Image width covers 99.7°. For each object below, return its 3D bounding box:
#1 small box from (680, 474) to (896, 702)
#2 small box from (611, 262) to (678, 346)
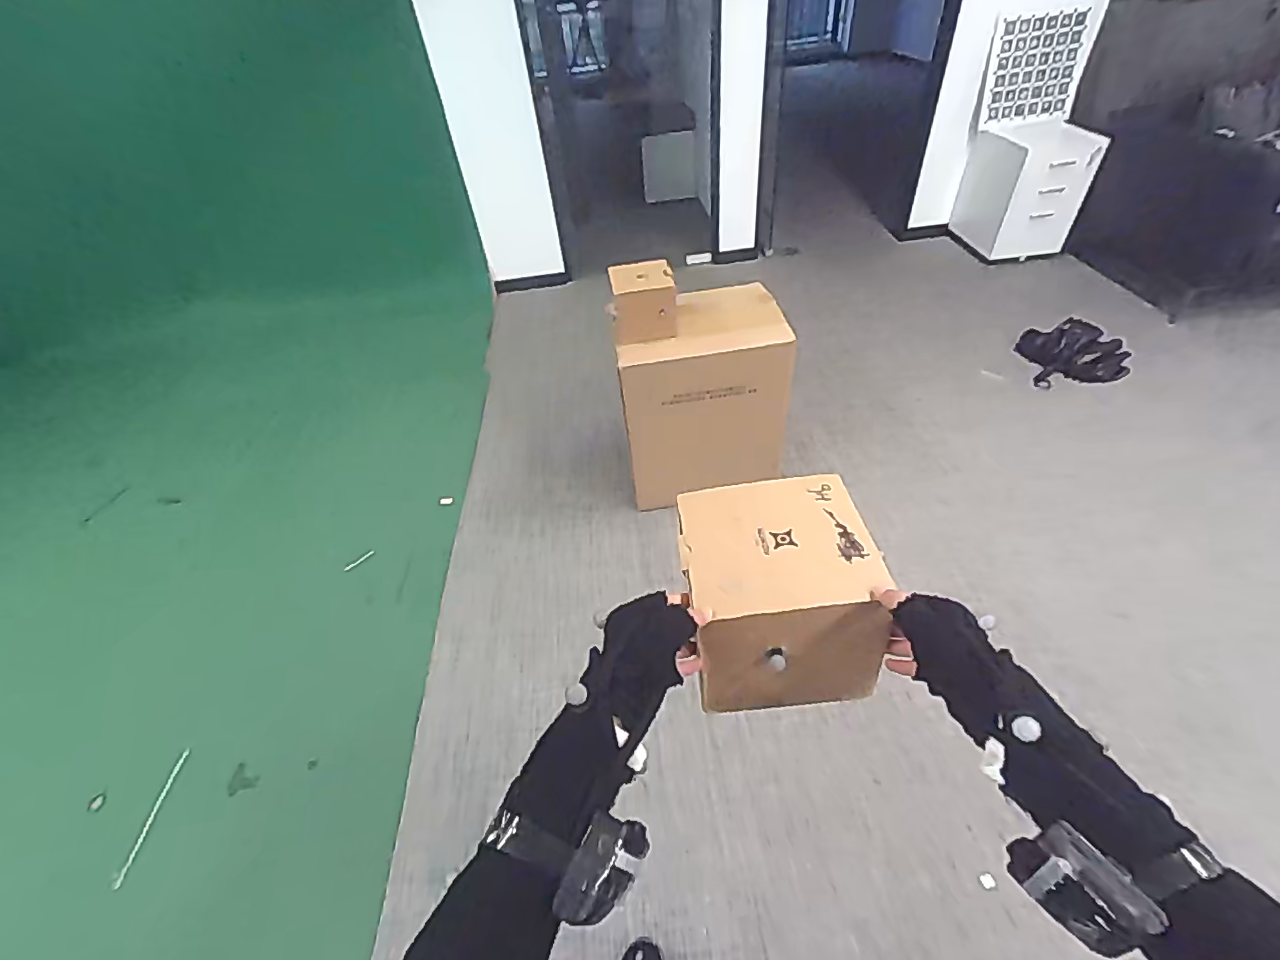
[{"bbox_3d":[0.143,0.117,0.574,0.179,0.176,0.168,-7,40,3],"label":"small box"},{"bbox_3d":[0.015,-0.525,1.619,0.179,0.176,0.168,-10,48,-2],"label":"small box"}]
